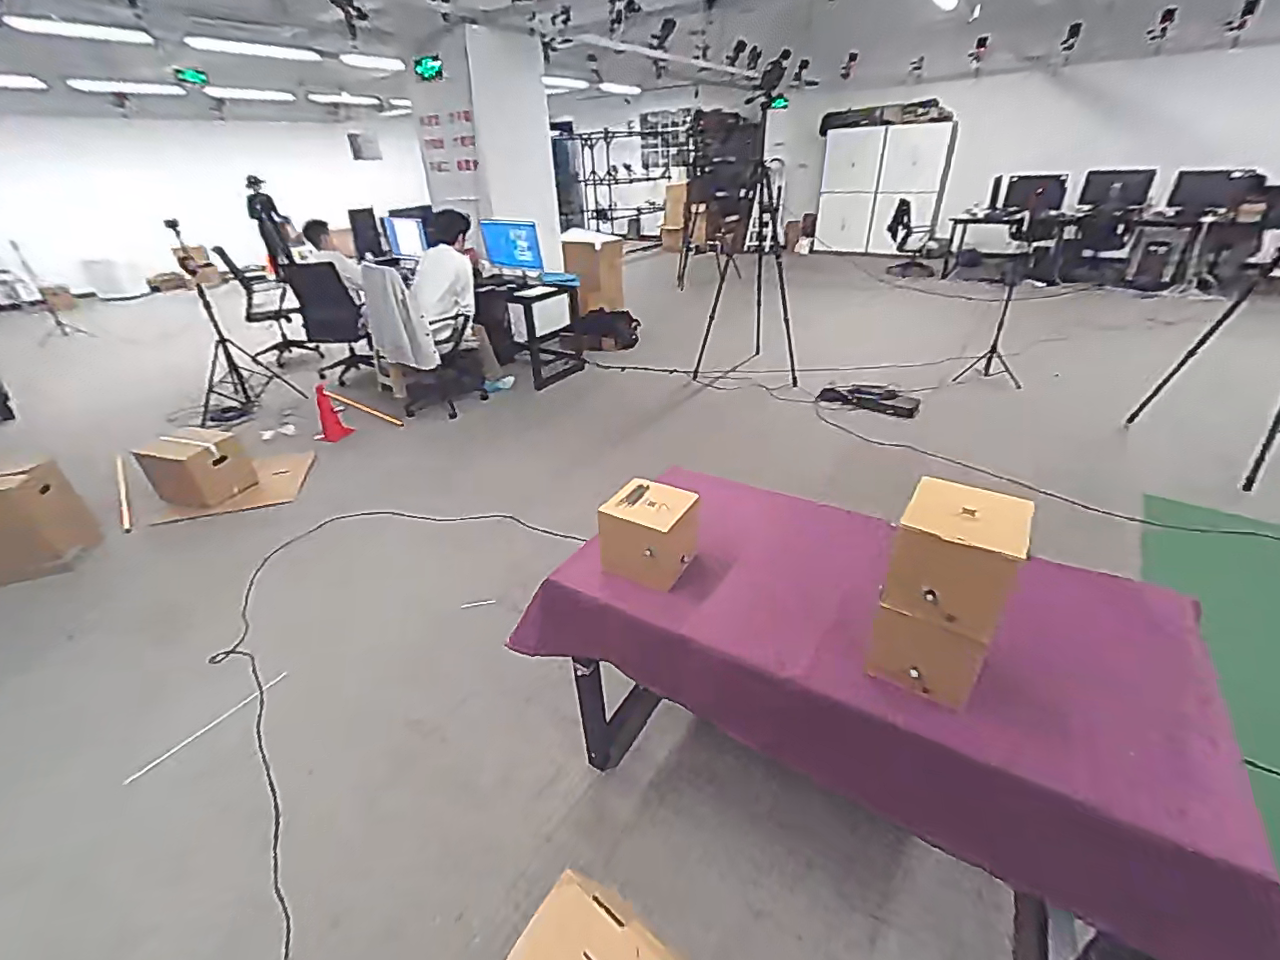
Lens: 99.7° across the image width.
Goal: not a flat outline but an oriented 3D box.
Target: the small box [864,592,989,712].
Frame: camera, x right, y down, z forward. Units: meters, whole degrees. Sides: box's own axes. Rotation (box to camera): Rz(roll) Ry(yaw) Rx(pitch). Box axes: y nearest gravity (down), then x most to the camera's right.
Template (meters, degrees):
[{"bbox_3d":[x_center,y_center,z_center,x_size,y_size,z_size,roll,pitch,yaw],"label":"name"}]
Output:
[{"bbox_3d":[0.514,0.266,0.961,0.168,0.176,0.179,17,36,31],"label":"small box"}]

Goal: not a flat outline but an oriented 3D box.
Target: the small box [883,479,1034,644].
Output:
[{"bbox_3d":[0.510,0.126,0.877,0.168,0.176,0.179,18,37,31],"label":"small box"}]
